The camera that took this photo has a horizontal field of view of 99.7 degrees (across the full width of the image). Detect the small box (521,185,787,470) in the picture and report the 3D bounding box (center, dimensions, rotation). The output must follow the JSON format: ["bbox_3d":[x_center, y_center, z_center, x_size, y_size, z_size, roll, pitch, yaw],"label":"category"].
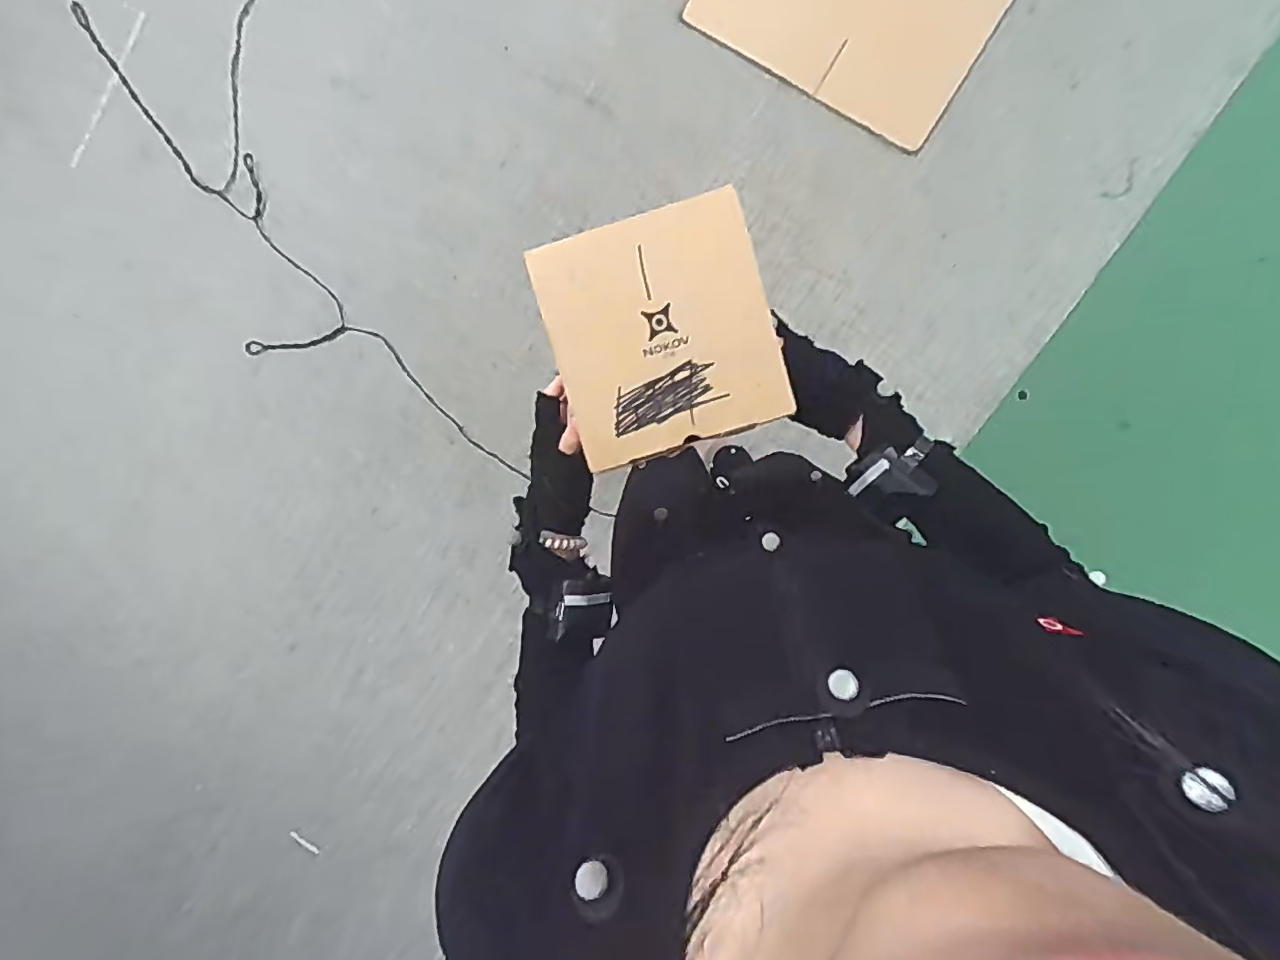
[{"bbox_3d":[0.014,-0.121,0.486,0.168,0.176,0.179,-17,96,2],"label":"small box"}]
